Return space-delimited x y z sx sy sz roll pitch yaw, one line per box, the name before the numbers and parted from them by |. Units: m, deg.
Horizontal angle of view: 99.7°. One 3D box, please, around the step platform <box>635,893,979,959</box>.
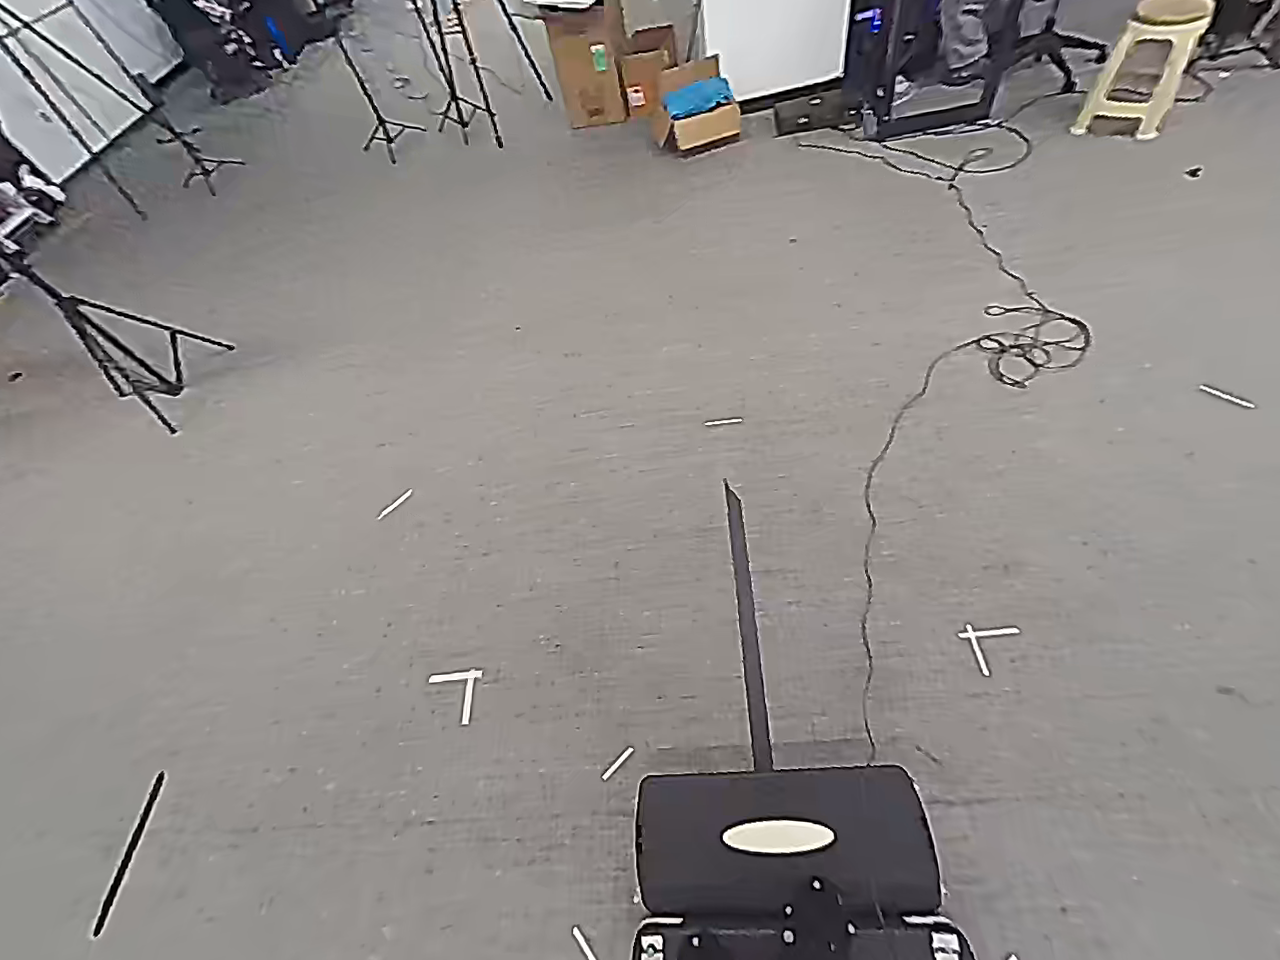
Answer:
step platform | 0.328 1.023 1.088 0.684 0.204 0.286 -8 54 8
